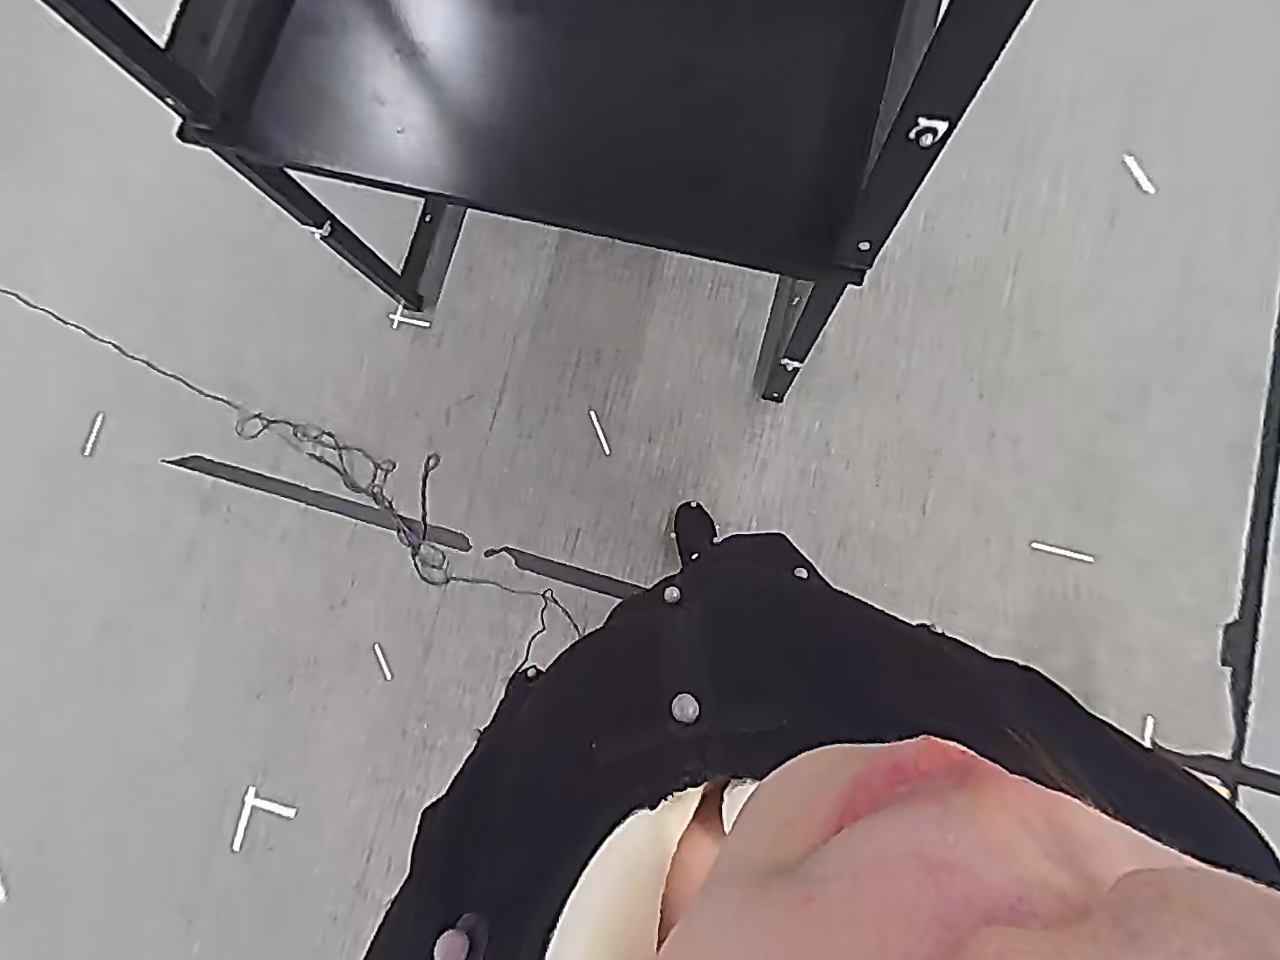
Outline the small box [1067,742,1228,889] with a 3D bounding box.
[{"bbox_3d":[1.018,0.669,1.100,0.168,0.176,0.179,13,84,7],"label":"small box"}]
